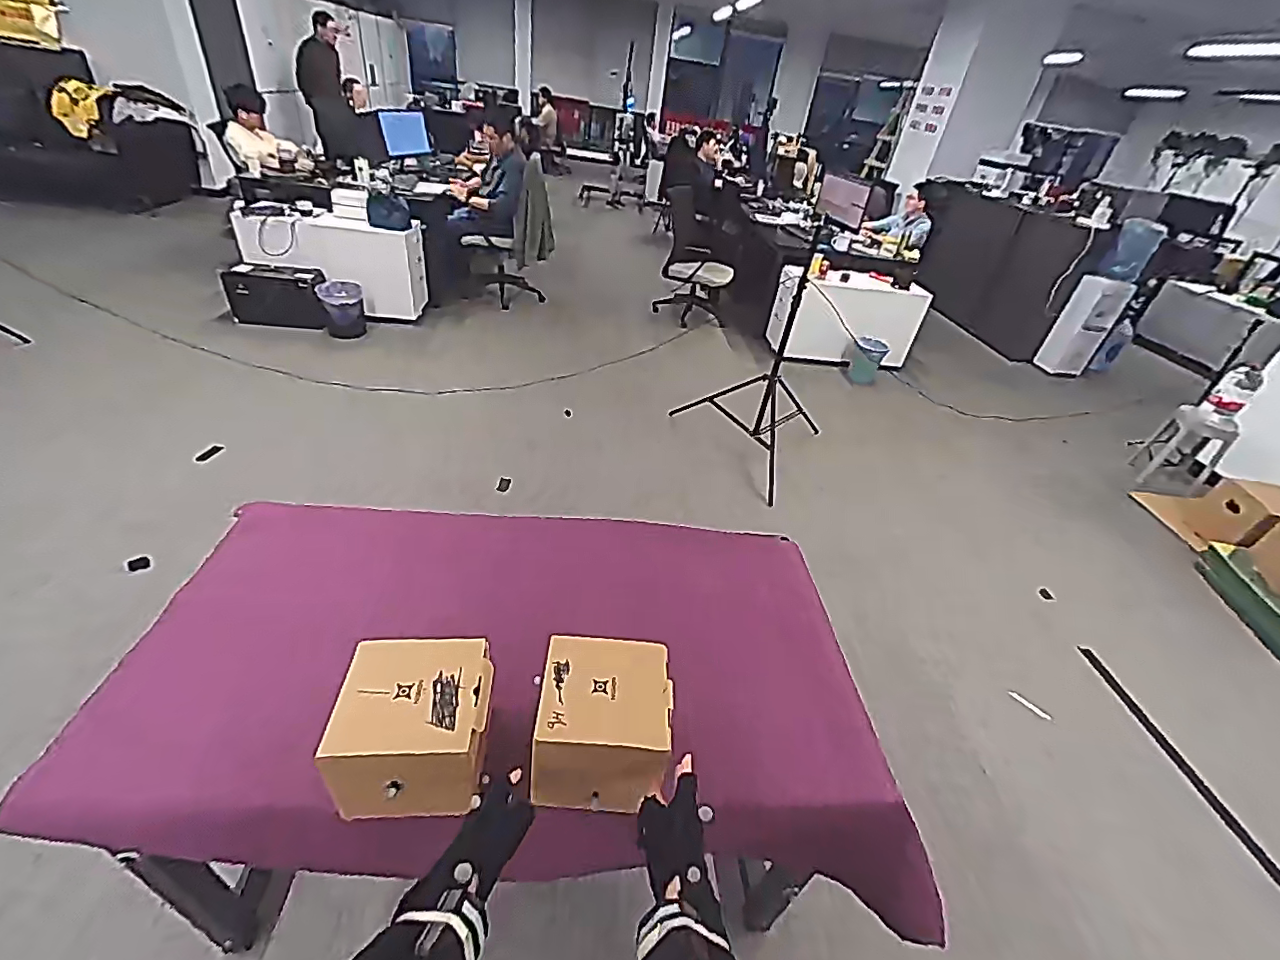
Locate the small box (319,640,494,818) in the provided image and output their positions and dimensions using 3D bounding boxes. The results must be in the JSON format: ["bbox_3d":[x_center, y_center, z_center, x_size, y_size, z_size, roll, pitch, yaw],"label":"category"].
[{"bbox_3d":[-0.302,0.342,0.747,0.179,0.176,0.168,2,35,-7],"label":"small box"}]

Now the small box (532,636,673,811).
[{"bbox_3d":[-0.054,0.353,0.783,0.179,0.176,0.168,7,34,-4],"label":"small box"}]
